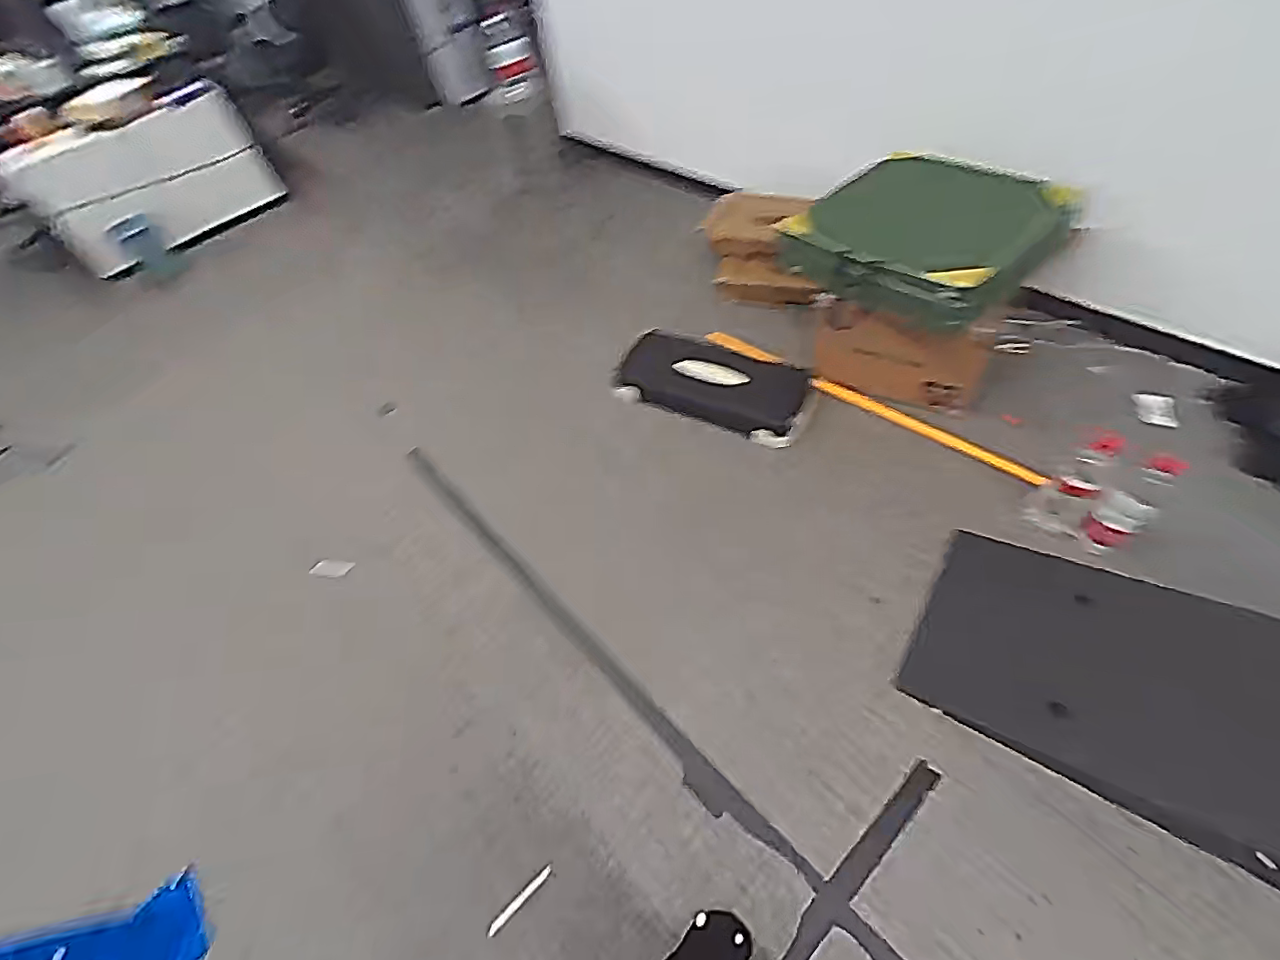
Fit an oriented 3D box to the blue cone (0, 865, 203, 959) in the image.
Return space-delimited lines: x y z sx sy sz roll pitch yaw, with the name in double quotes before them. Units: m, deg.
"blue cone" -1.064 0.873 1.027 0.193 0.380 0.192 -38 55 -18
